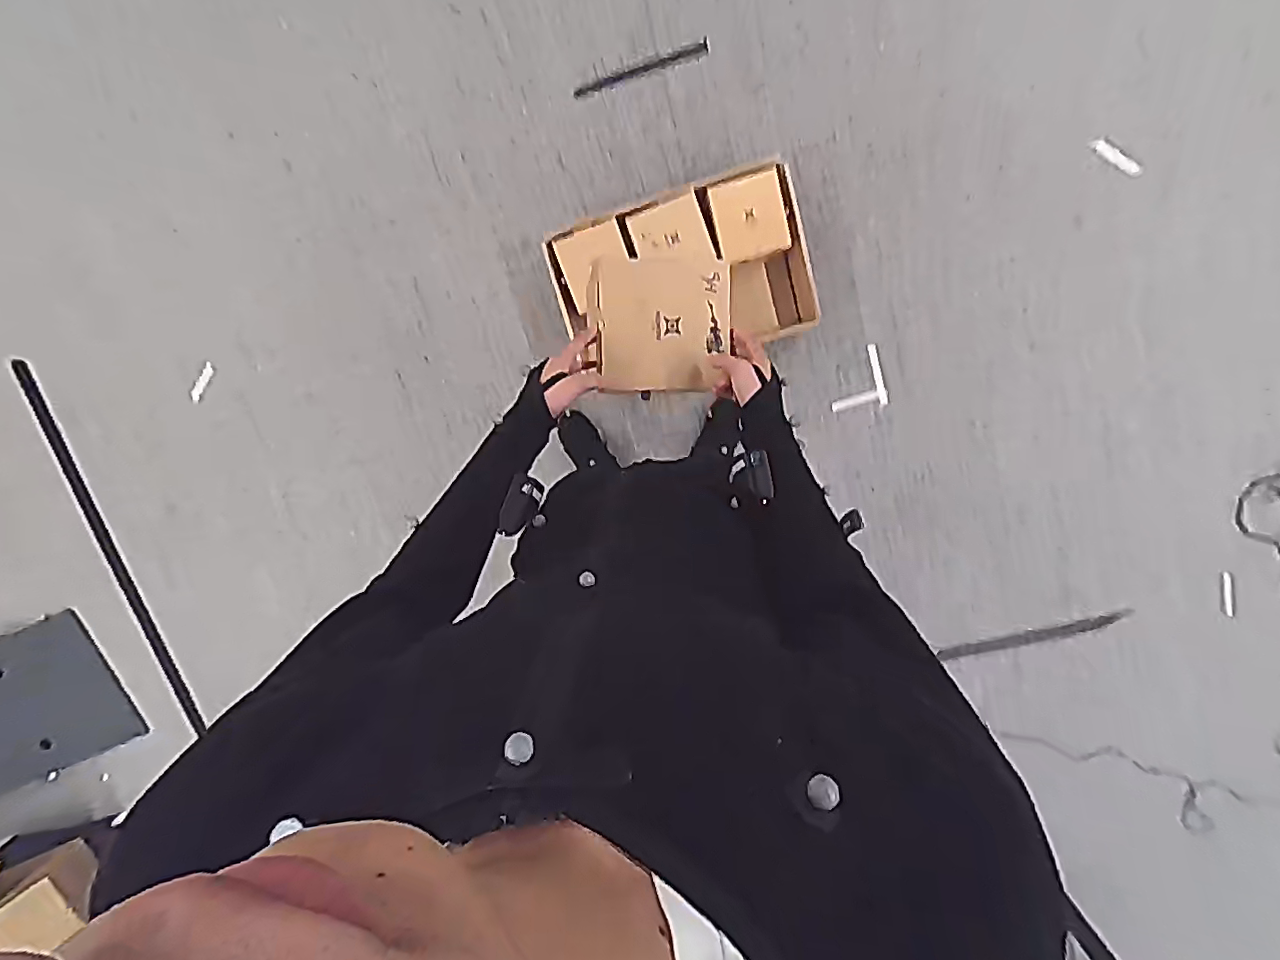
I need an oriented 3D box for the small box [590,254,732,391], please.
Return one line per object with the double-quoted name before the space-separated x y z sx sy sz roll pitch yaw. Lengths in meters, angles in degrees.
"small box" 0.020 -0.211 0.763 0.179 0.176 0.168 -3 99 -9
